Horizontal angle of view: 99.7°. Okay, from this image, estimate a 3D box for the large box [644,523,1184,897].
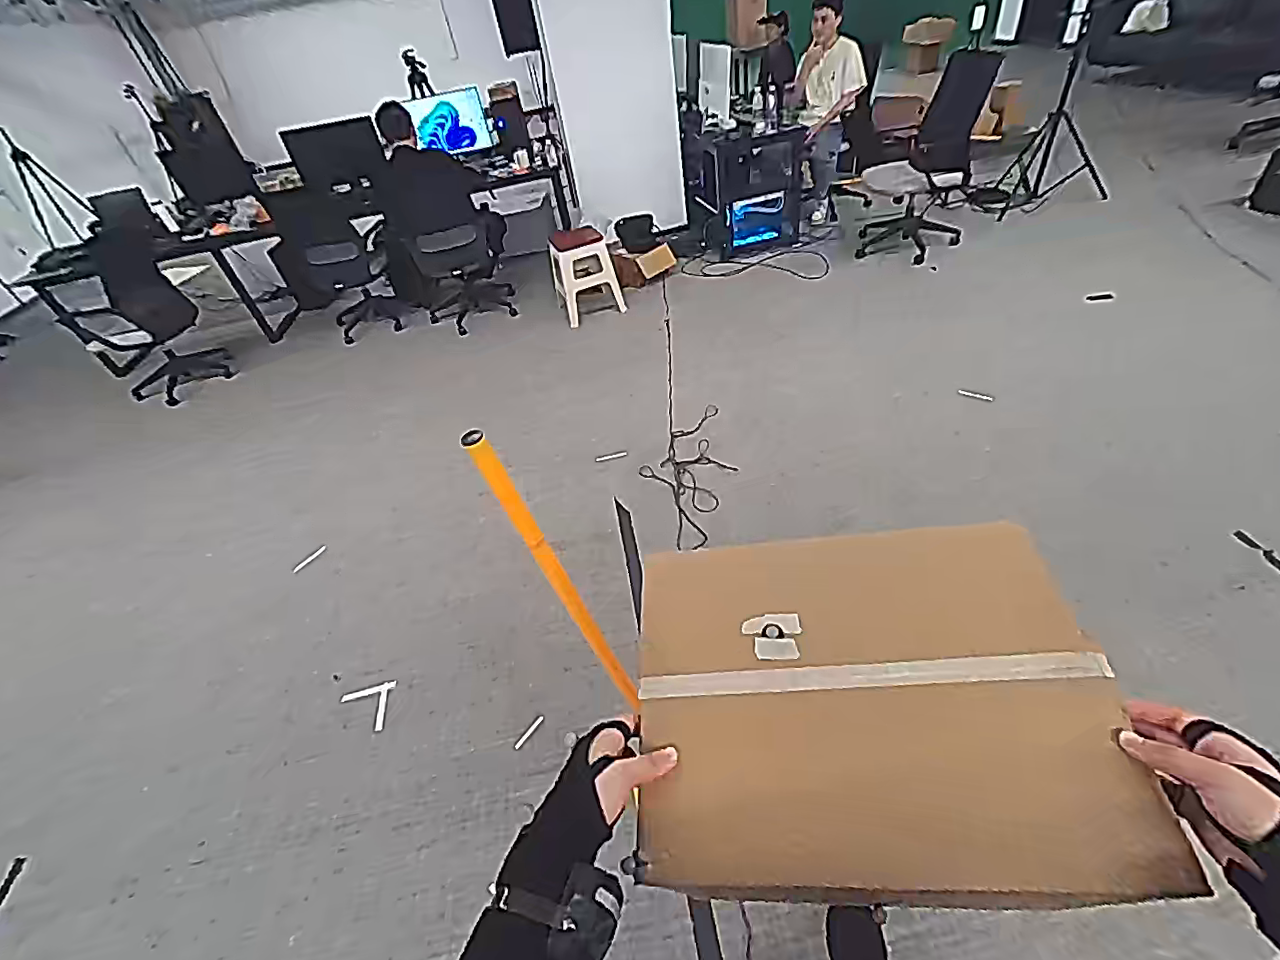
[{"bbox_3d":[0.236,0.283,0.625,0.408,0.320,0.320,-8,48,12],"label":"large box"}]
